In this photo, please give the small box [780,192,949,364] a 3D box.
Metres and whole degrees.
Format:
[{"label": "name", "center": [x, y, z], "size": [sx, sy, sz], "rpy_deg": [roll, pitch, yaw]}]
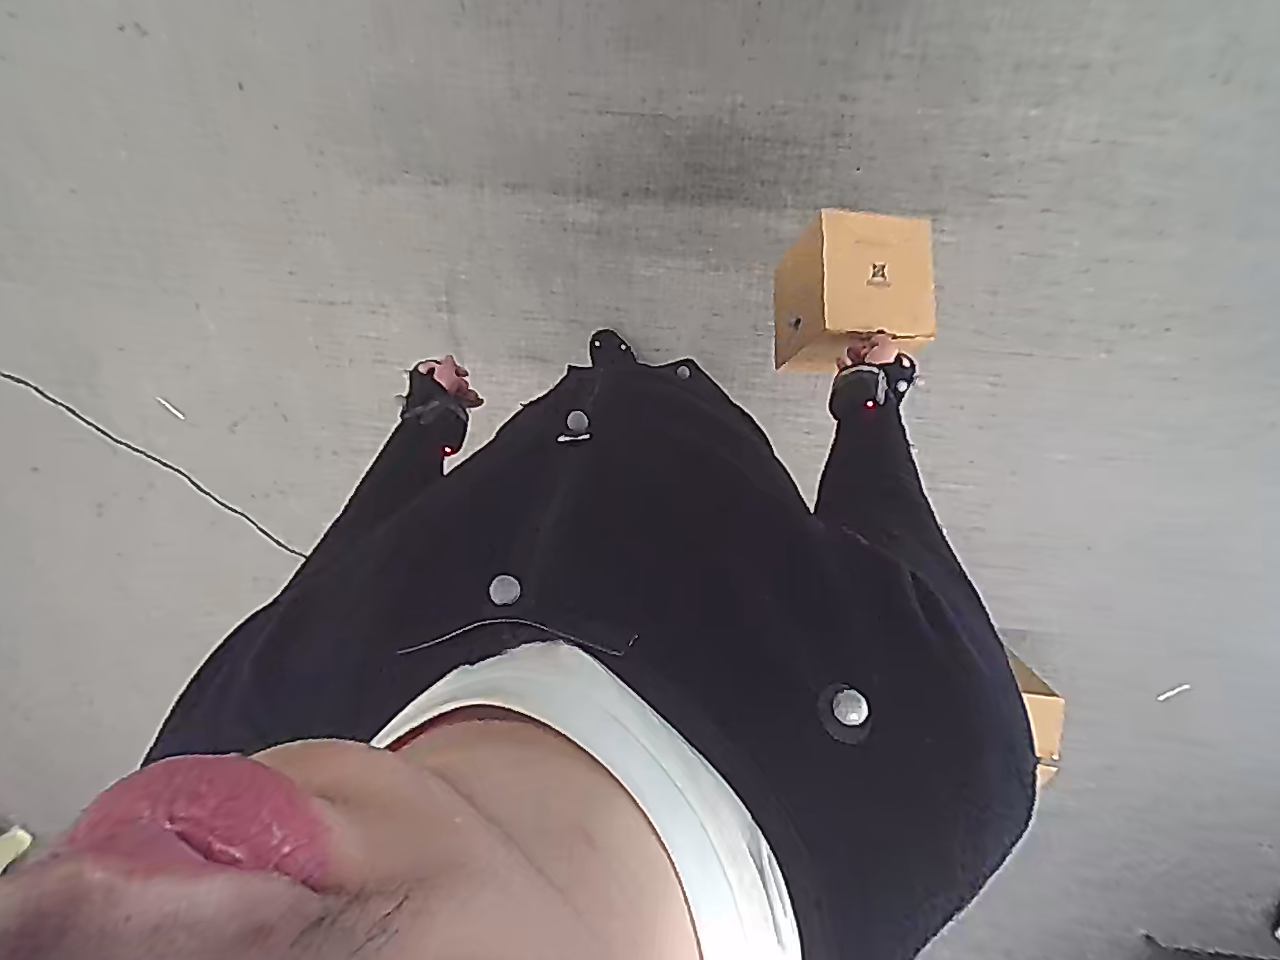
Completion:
[{"label": "small box", "center": [0.316, -0.278, 0.786], "size": [0.168, 0.176, 0.179], "rpy_deg": [4, 85, -10]}]
